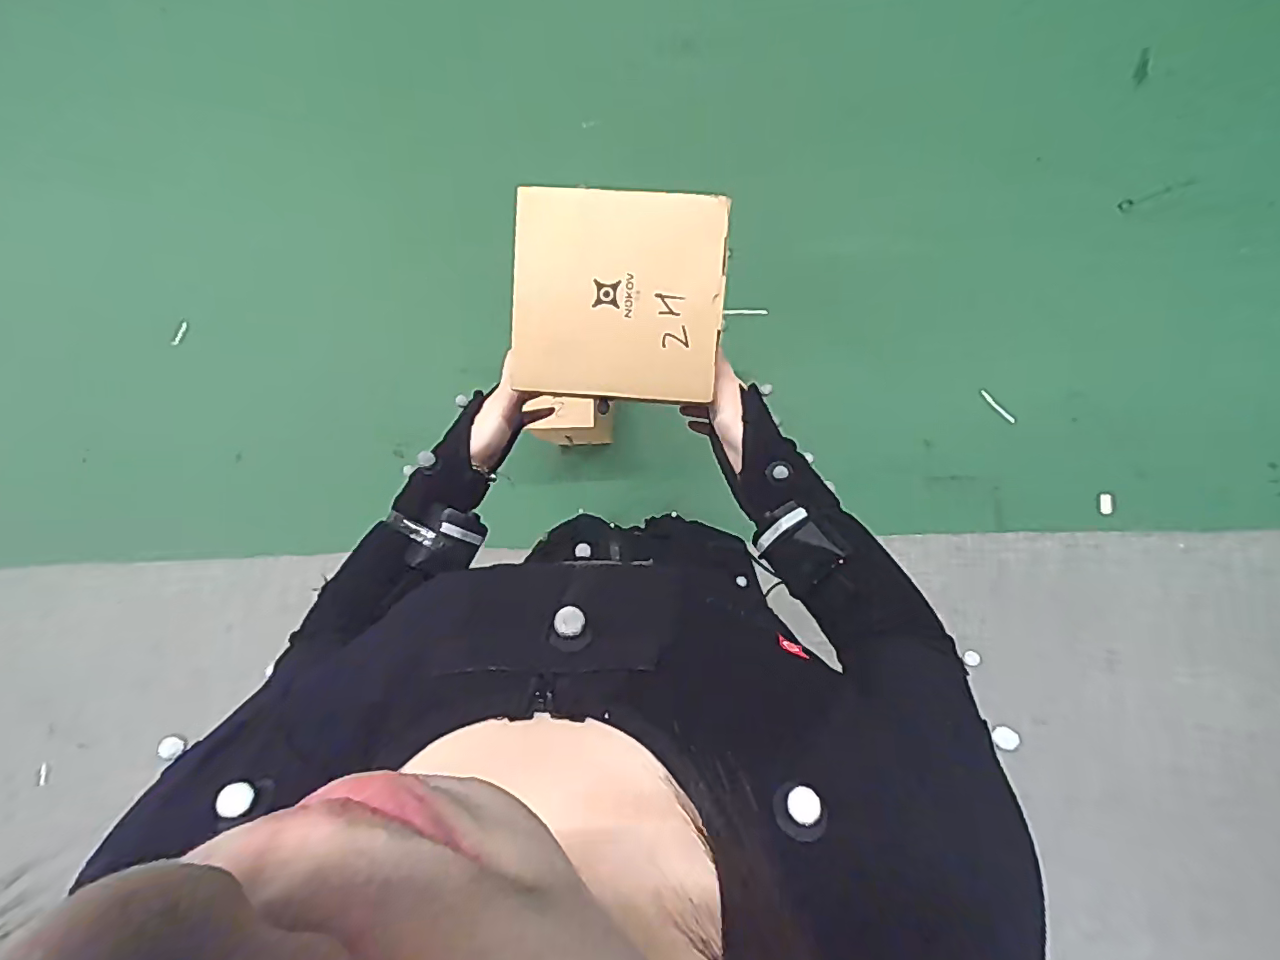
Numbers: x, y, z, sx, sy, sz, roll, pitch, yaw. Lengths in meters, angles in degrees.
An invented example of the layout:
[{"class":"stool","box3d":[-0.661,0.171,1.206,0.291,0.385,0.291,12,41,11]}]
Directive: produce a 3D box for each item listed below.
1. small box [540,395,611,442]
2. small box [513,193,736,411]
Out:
[{"class":"small box","box3d":[-0.169,-0.196,1.466,0.168,0.176,0.179,-1,86,4]},{"class":"small box","box3d":[-0.011,-0.156,0.524,0.179,0.176,0.168,5,99,2]}]
